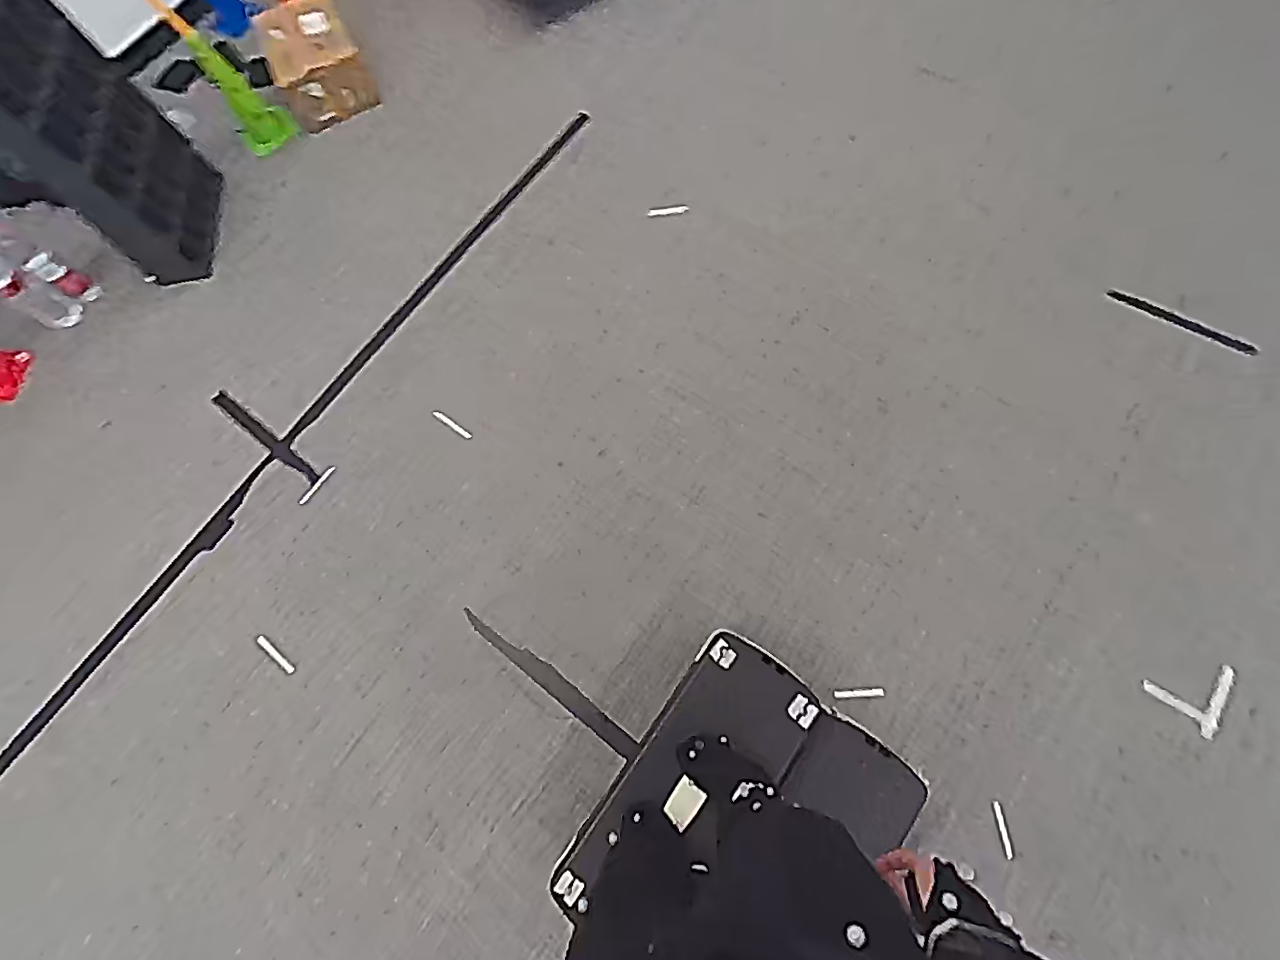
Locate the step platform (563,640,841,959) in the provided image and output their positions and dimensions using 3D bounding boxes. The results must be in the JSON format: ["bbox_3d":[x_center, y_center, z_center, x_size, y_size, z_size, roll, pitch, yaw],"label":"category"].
[{"bbox_3d":[0.143,0.699,1.202,0.286,0.204,0.684,37,78,17],"label":"step platform"}]
